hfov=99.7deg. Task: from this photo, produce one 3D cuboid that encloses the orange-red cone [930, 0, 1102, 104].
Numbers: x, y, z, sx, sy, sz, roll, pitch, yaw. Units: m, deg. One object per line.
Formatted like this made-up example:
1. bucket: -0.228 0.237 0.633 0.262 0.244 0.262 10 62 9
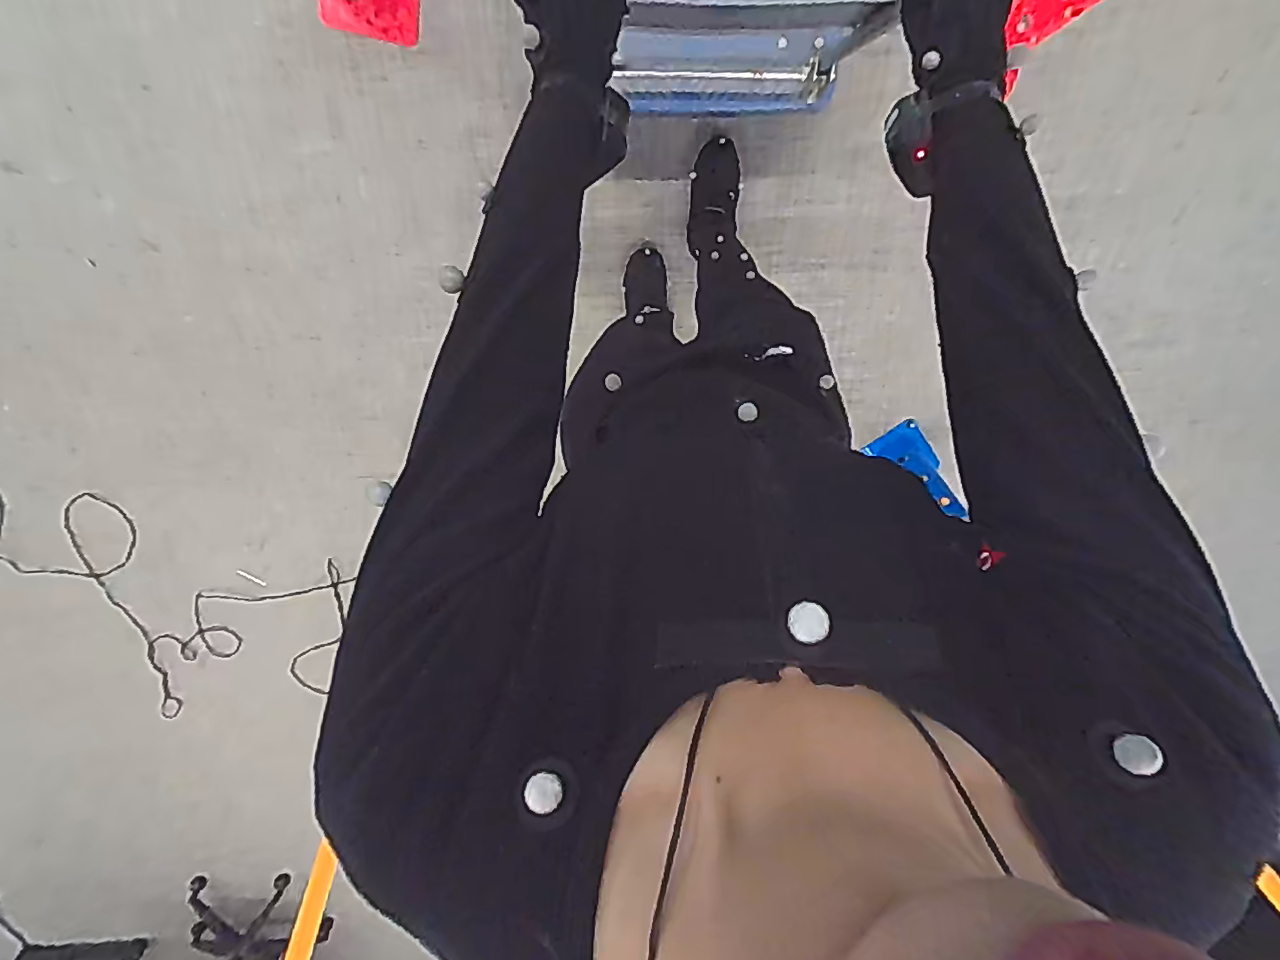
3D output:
1. orange-red cone: 0.739 -0.856 0.996 0.198 0.360 0.199 9 116 -4
